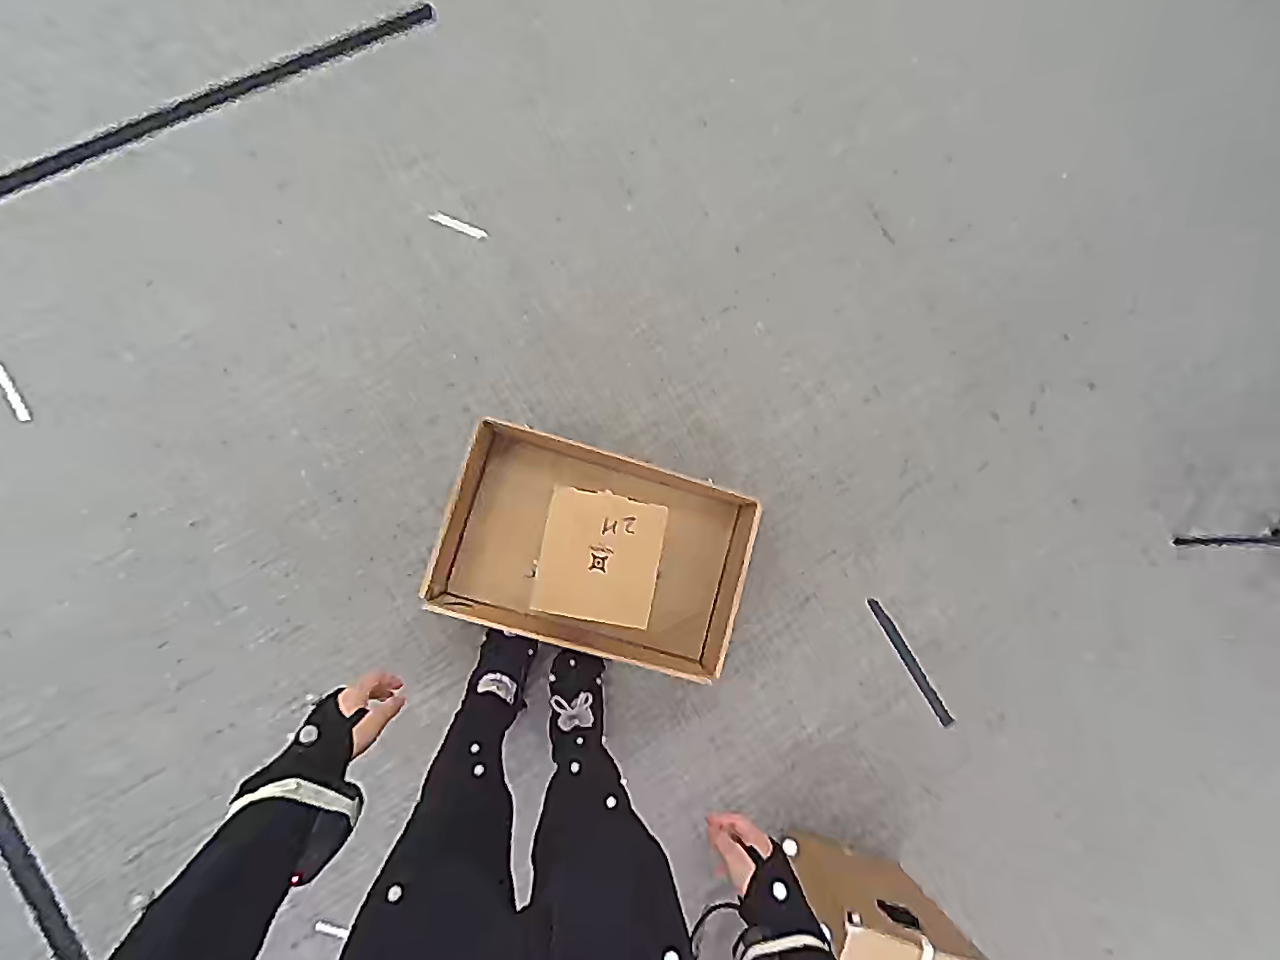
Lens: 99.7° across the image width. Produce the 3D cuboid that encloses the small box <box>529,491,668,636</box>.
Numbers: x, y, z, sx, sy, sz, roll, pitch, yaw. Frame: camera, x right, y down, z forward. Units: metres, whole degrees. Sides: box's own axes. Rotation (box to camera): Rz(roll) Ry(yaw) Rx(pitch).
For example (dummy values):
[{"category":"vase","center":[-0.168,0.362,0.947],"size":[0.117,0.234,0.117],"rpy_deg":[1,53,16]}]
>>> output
[{"category":"small box","center":[-0.065,0.122,0.826],"size":[0.168,0.176,0.179],"rpy_deg":[12,84,-7]}]
